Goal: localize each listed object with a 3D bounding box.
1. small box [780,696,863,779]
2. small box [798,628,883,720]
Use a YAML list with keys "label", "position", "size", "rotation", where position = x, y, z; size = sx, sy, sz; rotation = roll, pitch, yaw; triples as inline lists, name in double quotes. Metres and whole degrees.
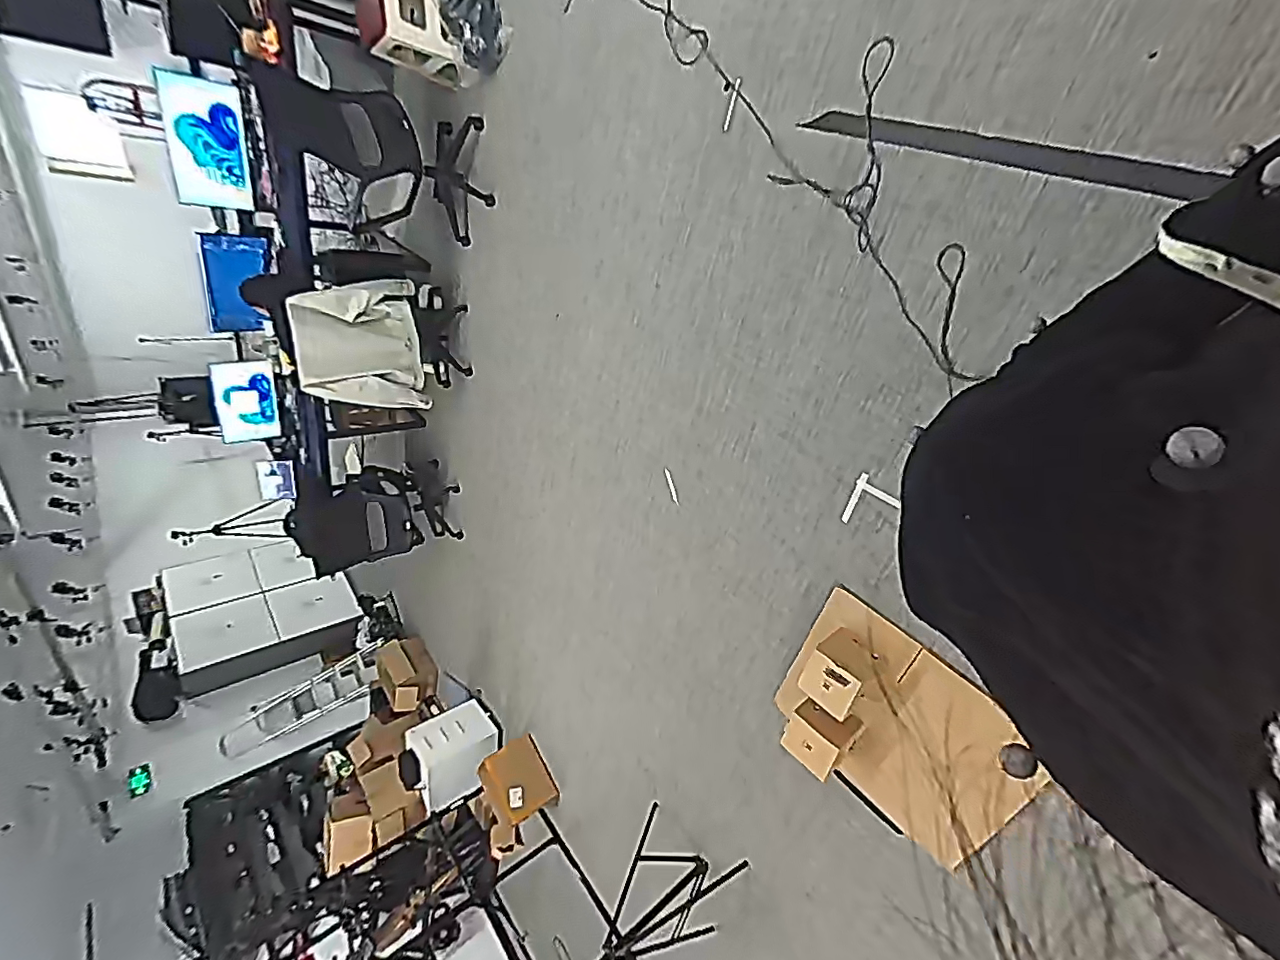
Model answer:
- label: "small box"
  position: [0.601, 0.831, 1.786]
  size: [0.179, 0.176, 0.168]
  rotation: [33, 126, 38]
- label: "small box"
  position: [0.626, 0.595, 1.679]
  size: [0.168, 0.176, 0.179]
  rotation: [36, 127, 37]
